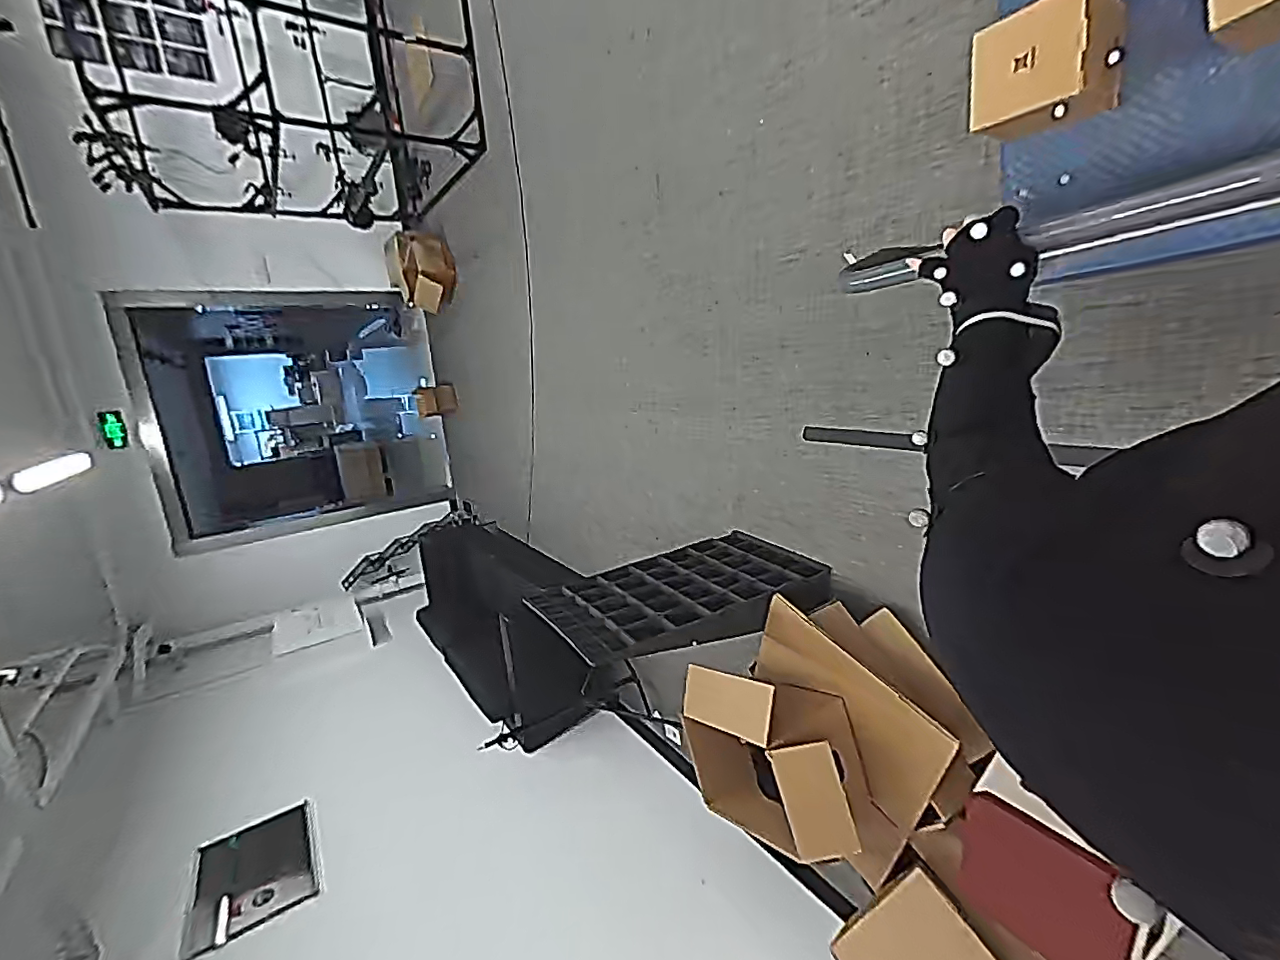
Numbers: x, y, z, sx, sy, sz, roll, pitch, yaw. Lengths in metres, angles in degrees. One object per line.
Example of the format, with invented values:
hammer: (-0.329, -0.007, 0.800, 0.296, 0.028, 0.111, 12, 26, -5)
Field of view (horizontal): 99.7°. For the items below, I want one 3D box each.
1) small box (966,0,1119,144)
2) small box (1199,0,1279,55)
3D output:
small box: (0.730, -0.740, 0.987, 0.179, 0.176, 0.168, 12, 110, 53)
small box: (0.900, -0.723, 0.729, 0.179, 0.176, 0.168, 2, 103, 57)
